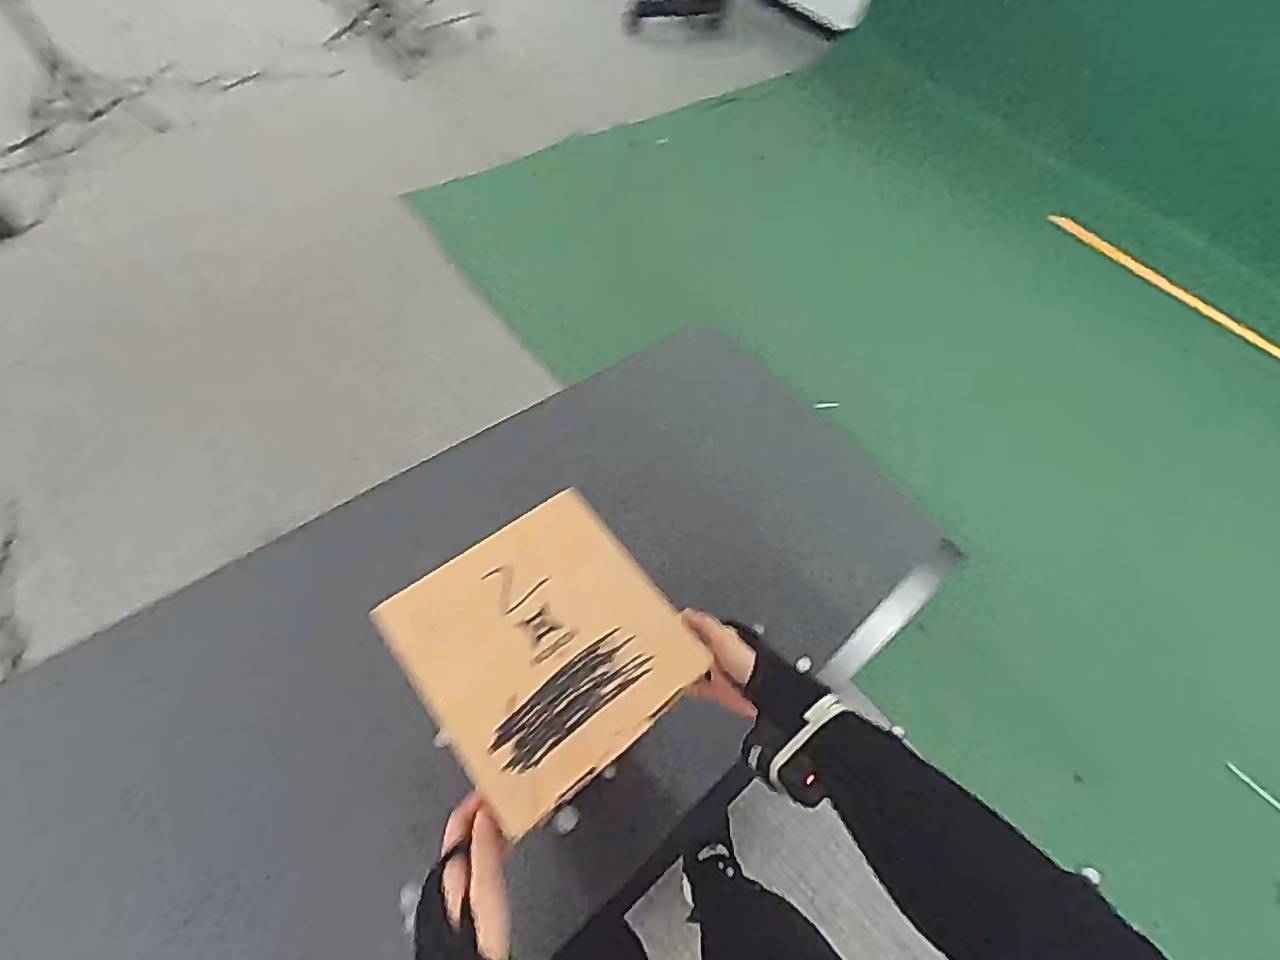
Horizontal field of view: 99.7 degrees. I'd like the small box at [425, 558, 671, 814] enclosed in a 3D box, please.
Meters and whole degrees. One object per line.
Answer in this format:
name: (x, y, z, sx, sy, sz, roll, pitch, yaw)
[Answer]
small box: (-0.096, 0.222, 0.574, 0.168, 0.176, 0.179, -37, 71, -25)
